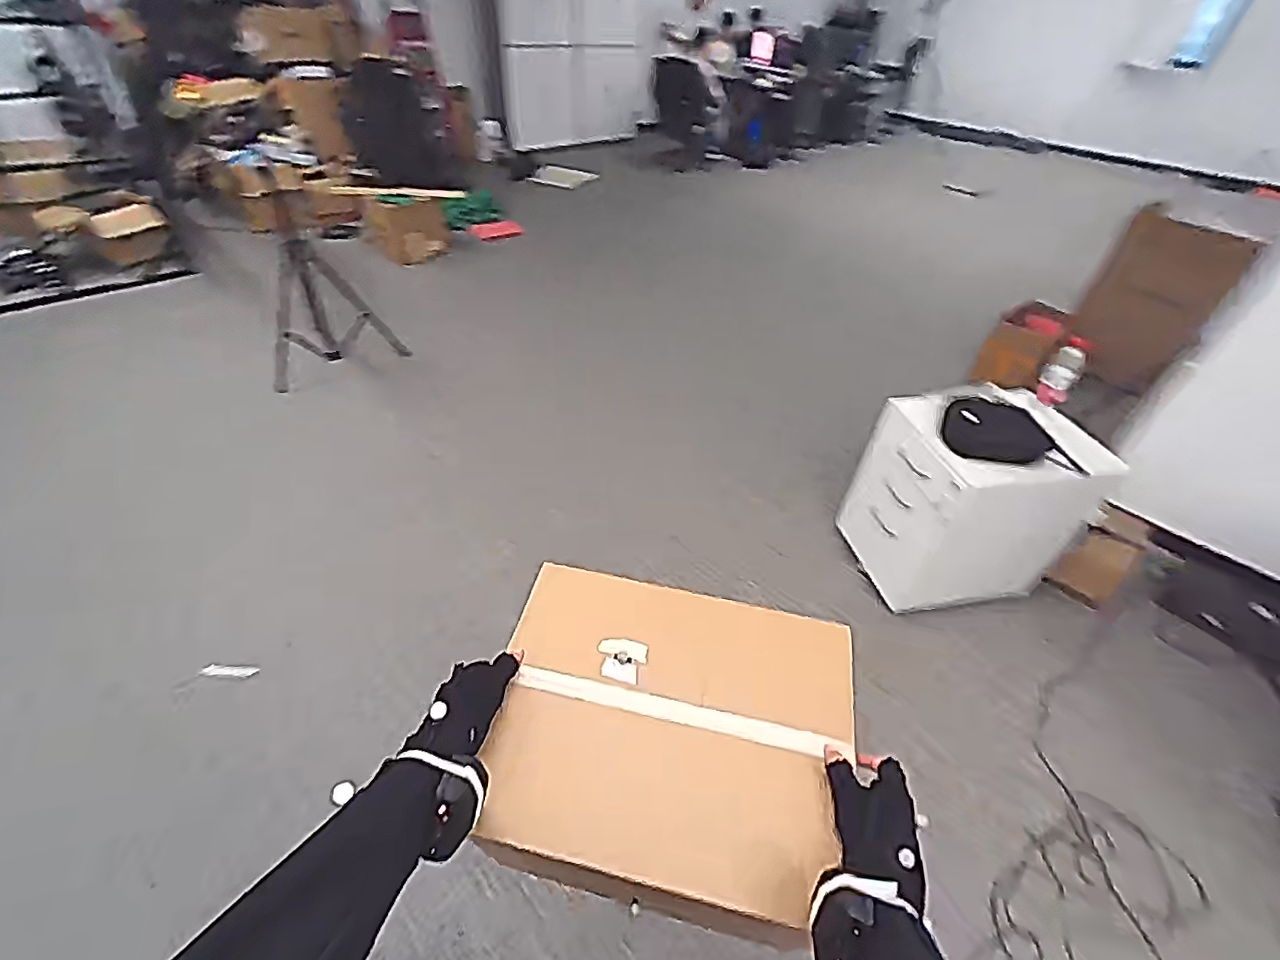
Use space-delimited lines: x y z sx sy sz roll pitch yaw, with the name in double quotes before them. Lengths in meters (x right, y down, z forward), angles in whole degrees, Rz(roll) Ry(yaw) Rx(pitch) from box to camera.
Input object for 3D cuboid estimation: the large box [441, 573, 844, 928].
"large box" 0.022 0.363 0.726 0.408 0.320 0.320 9 48 7
